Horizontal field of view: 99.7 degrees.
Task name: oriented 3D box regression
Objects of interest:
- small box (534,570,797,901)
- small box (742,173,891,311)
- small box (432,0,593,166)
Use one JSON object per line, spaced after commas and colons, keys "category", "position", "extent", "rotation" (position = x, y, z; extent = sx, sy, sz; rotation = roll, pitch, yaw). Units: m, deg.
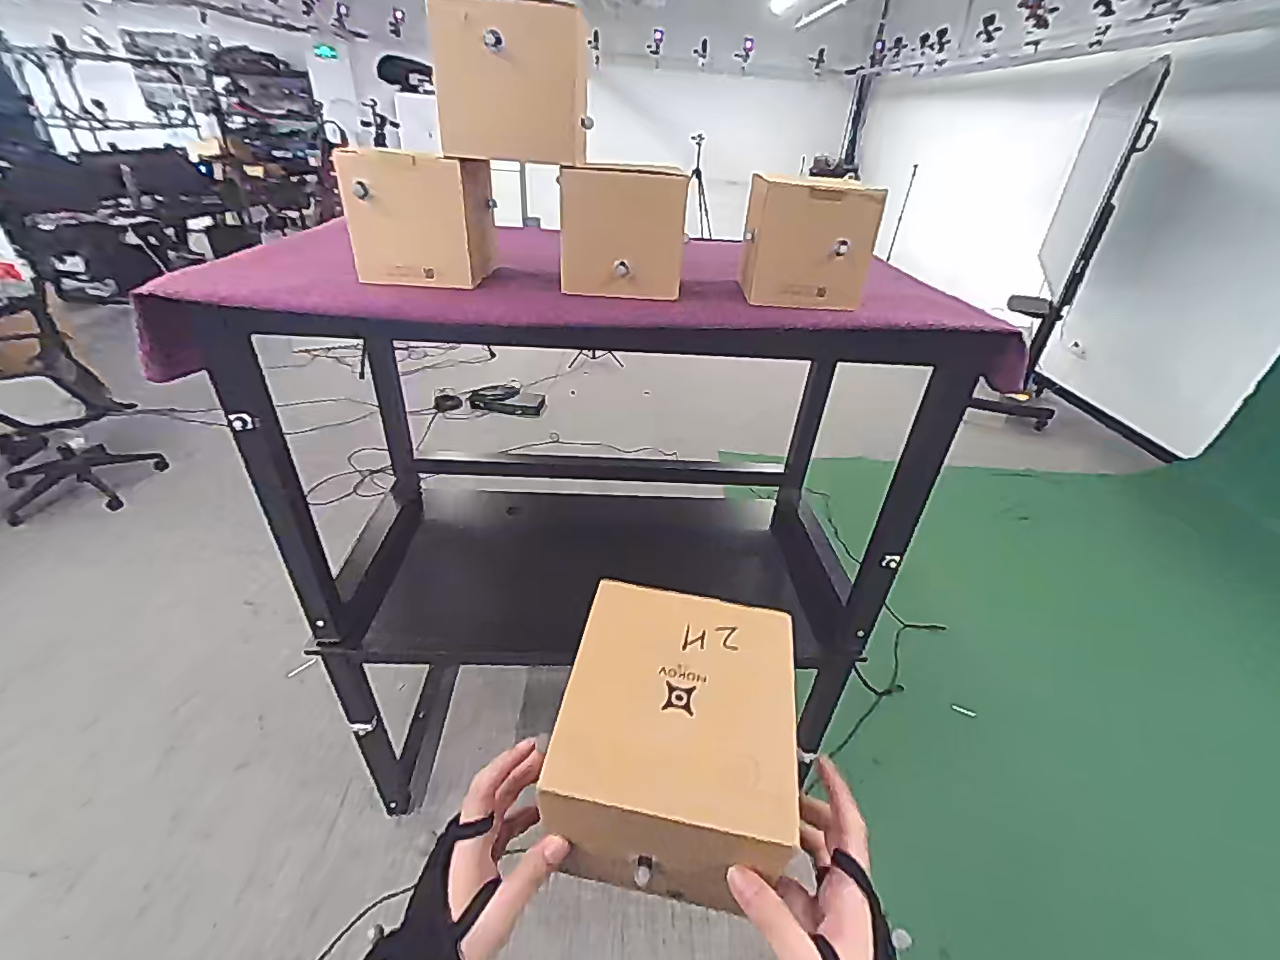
{"category": "small box", "position": [0.026, 0.205, 0.441], "extent": [0.168, 0.176, 0.179], "rotation": [10, 40, 6]}
{"category": "small box", "position": [0.257, -0.369, 0.836], "extent": [0.168, 0.176, 0.179], "rotation": [5, 33, 1]}
{"category": "small box", "position": [-0.159, -0.527, 0.728], "extent": [0.179, 0.176, 0.168], "rotation": [4, 32, -2]}
